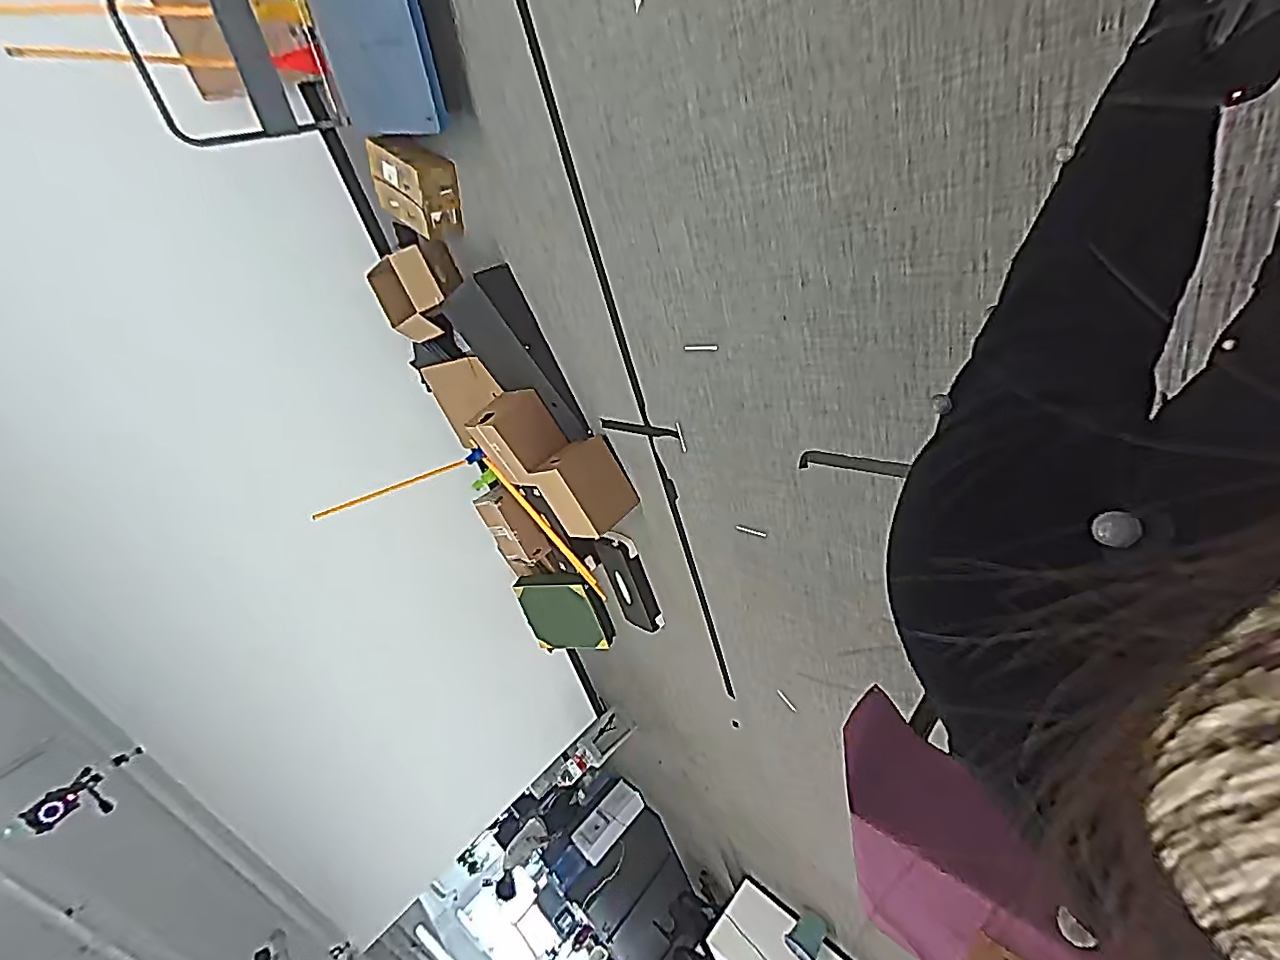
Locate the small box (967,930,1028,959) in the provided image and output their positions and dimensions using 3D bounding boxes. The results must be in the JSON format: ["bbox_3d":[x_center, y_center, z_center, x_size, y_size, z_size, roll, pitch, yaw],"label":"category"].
[{"bbox_3d":[0.816,1.164,1.201,0.168,0.176,0.179,15,132,46],"label":"small box"}]
